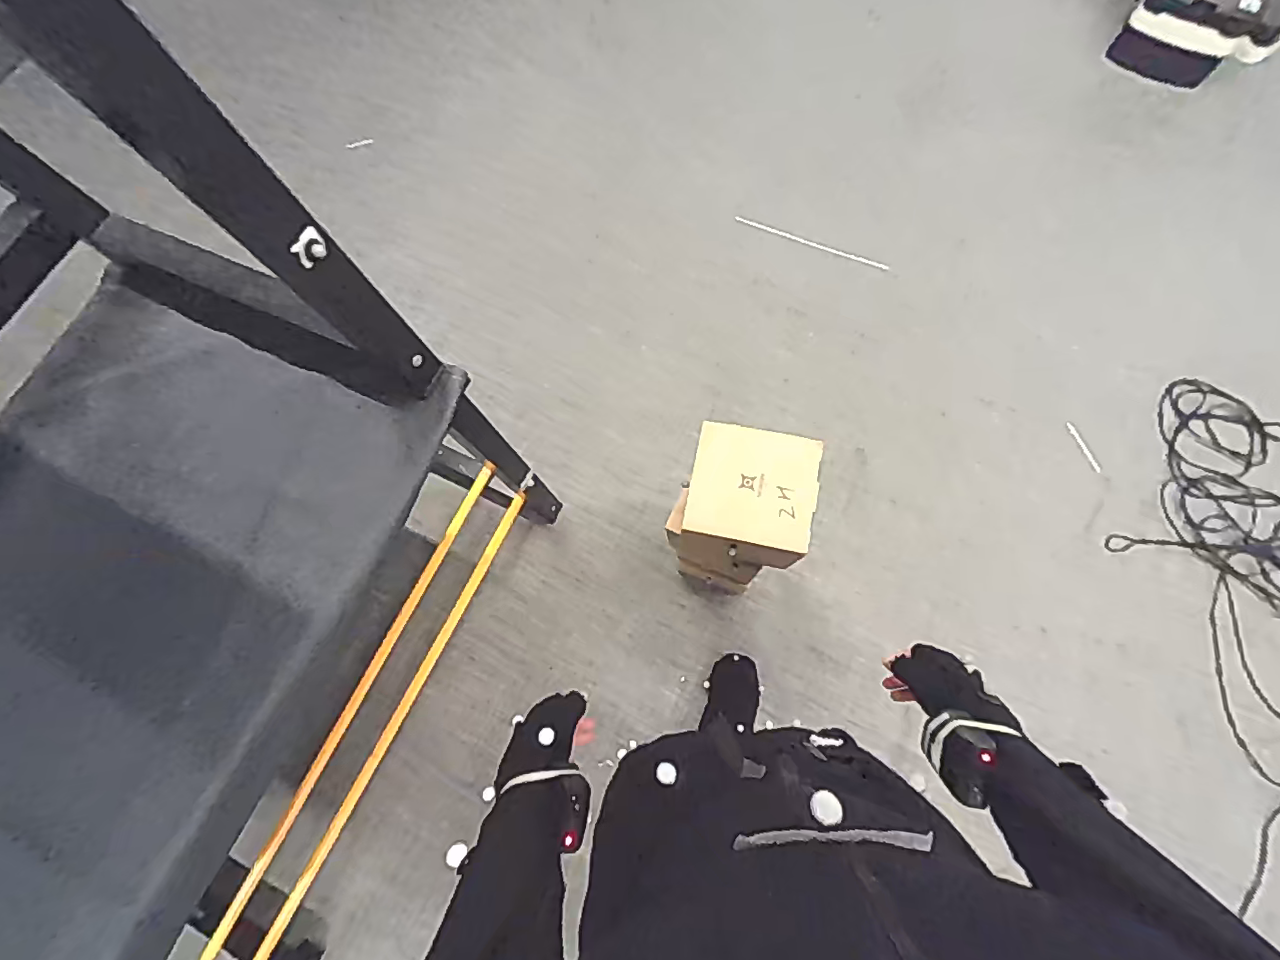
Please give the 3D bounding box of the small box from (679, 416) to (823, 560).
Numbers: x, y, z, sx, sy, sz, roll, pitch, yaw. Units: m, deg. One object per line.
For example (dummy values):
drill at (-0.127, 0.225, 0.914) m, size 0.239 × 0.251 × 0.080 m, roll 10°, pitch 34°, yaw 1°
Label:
small box at (0.161, 0.021, 0.824) m, size 0.179 × 0.176 × 0.168 m, roll 11°, pitch 77°, yaw 8°

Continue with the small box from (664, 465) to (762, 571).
small box at (0.159, 0.056, 0.984) m, size 0.179 × 0.176 × 0.168 m, roll 24°, pitch 79°, yaw 11°
